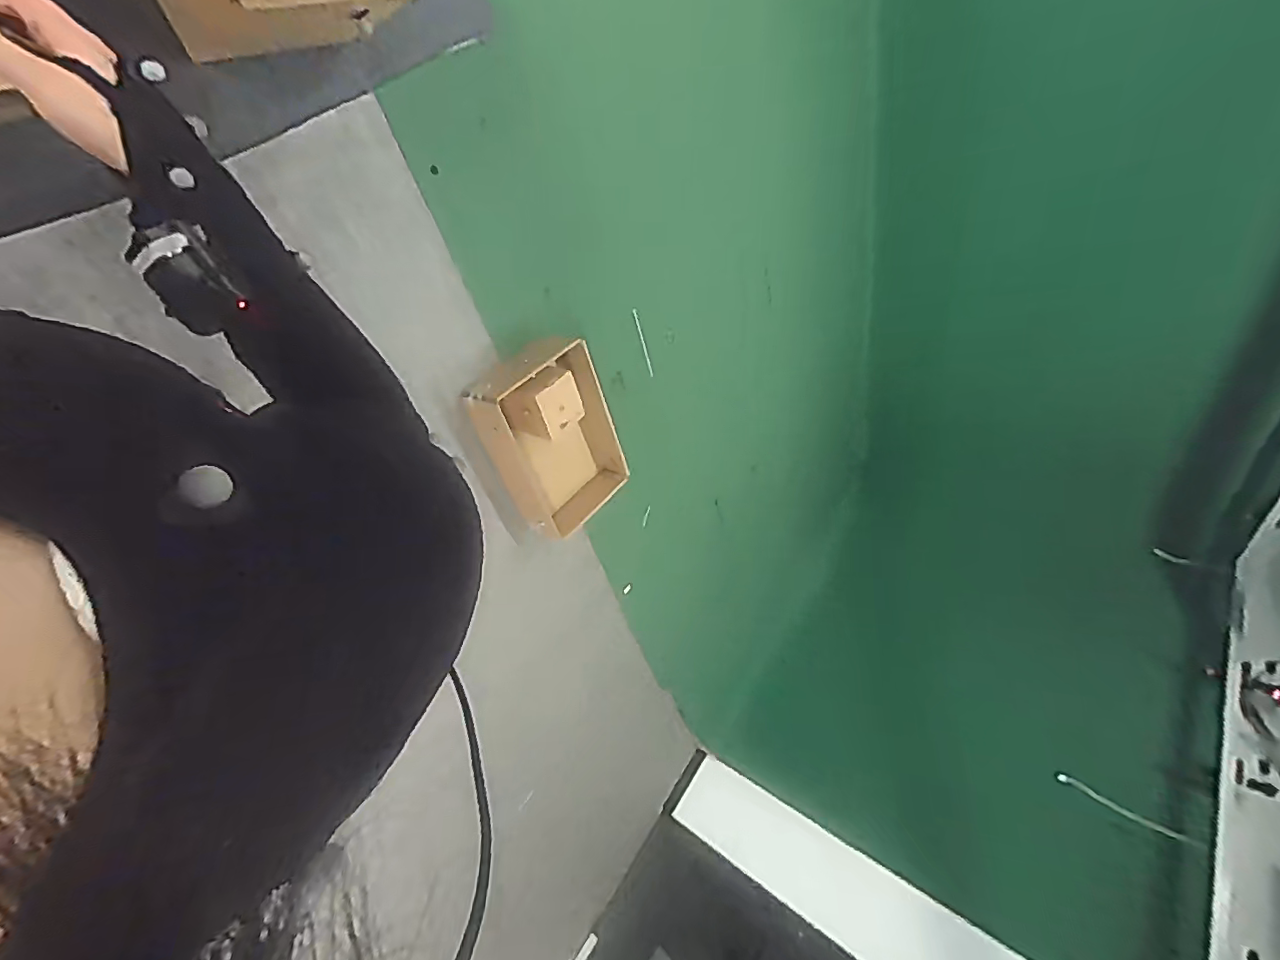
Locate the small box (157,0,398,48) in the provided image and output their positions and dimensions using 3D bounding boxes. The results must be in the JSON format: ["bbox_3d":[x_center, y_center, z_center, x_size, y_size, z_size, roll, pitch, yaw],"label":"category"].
[{"bbox_3d":[-0.350,-0.517,0.485,0.179,0.176,0.168,-42,133,-32],"label":"small box"}]

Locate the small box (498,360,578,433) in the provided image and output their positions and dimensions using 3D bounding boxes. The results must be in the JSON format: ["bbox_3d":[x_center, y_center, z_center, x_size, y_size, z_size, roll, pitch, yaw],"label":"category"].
[{"bbox_3d":[-0.336,-0.281,1.773,0.168,0.176,0.179,-44,136,-31],"label":"small box"}]
